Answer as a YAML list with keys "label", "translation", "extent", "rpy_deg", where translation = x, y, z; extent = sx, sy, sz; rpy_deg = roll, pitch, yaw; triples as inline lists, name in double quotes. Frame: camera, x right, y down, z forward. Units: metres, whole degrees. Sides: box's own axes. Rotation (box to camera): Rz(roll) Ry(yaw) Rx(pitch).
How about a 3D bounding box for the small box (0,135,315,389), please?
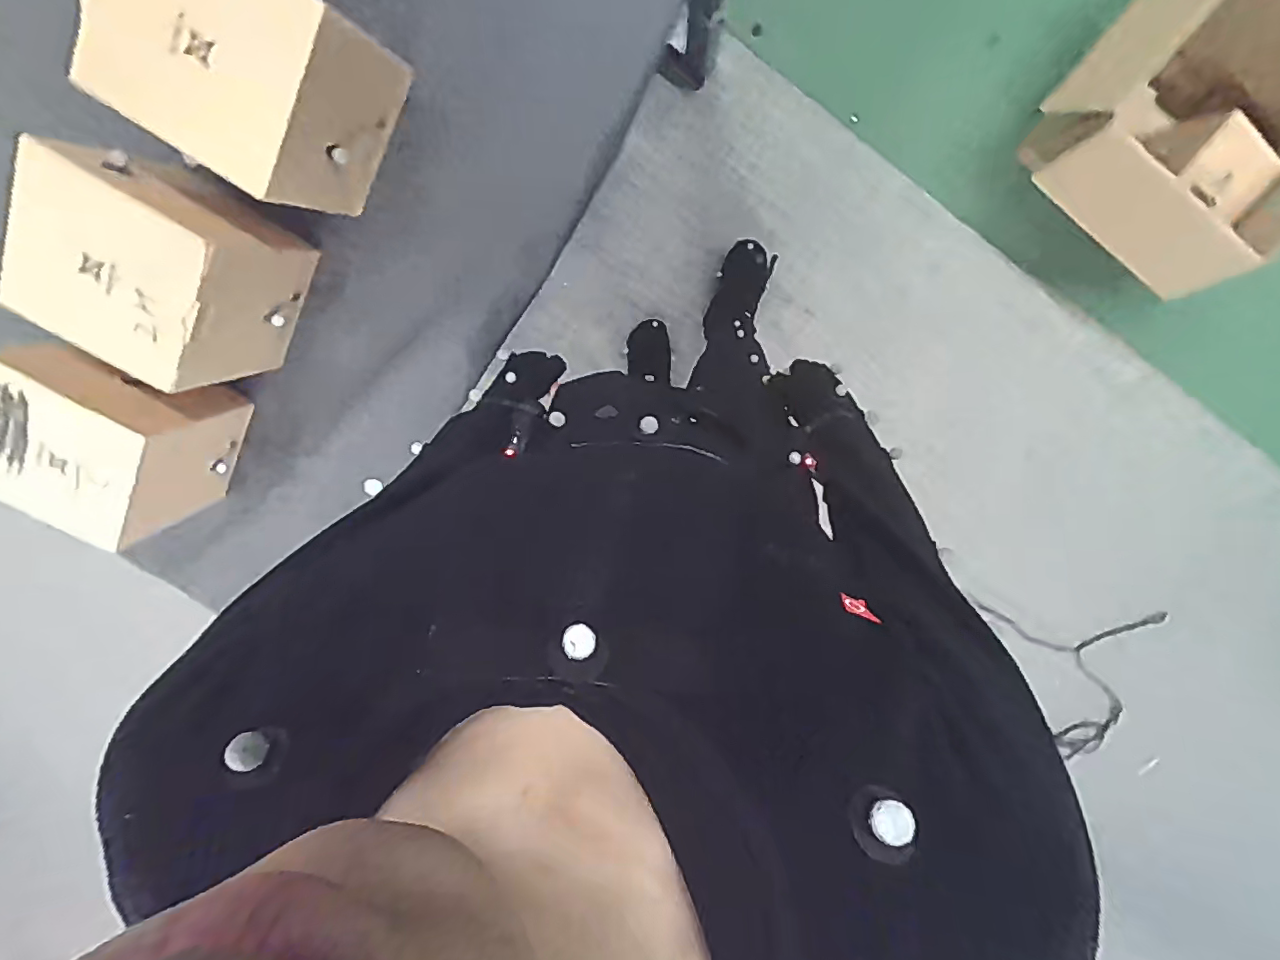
- label: "small box"
  translation: [-0.502, -0.224, 0.583]
  extent: [0.179, 0.176, 0.168]
  rpy_deg: [30, 110, -9]
